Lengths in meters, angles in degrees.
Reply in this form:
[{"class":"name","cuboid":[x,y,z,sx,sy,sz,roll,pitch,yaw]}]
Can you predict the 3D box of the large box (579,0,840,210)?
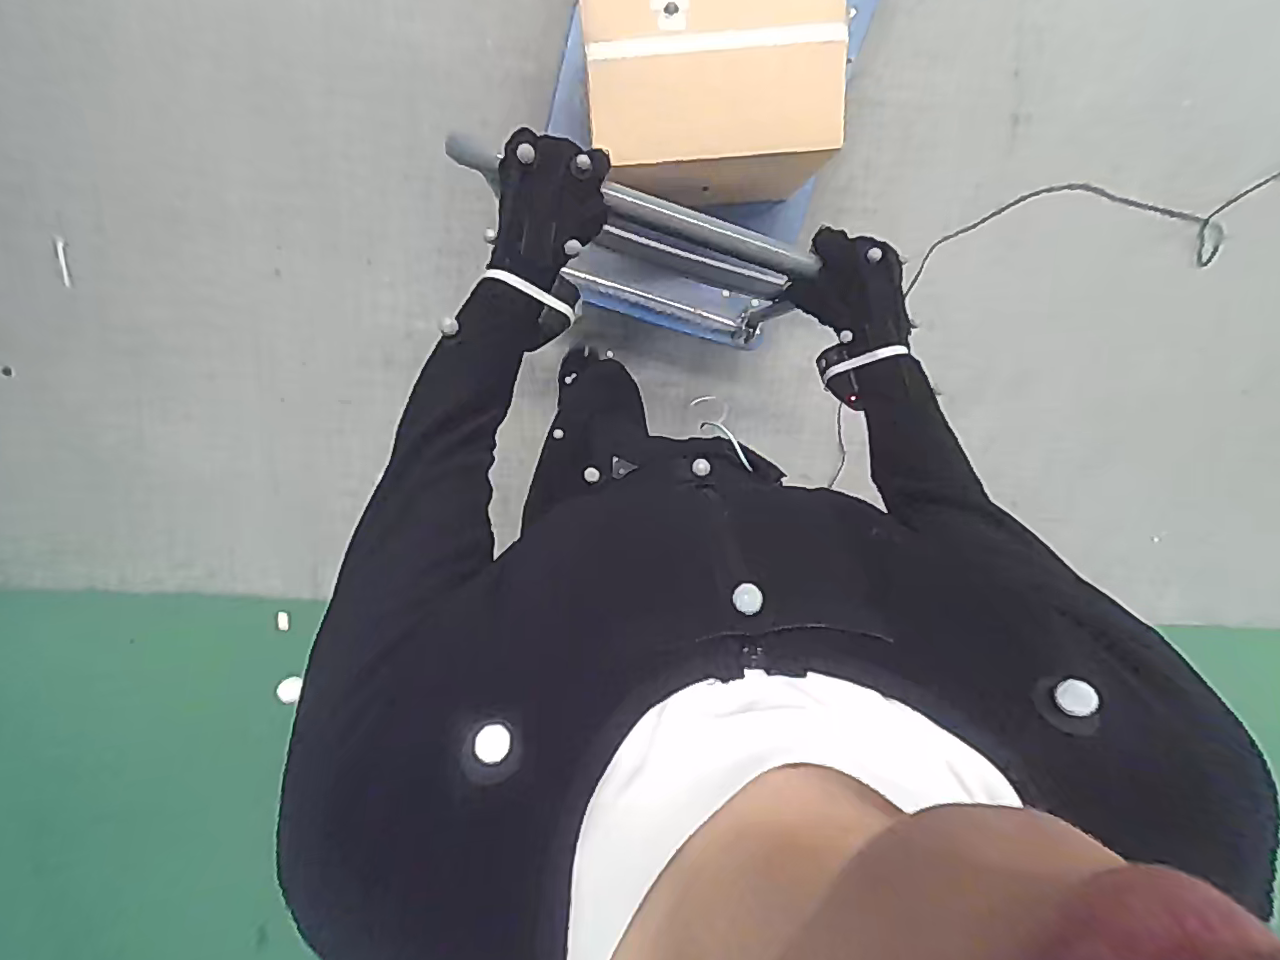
[{"class":"large box","cuboid":[0.112,-0.704,0.981,0.408,0.320,0.320,-4,103,0]}]
